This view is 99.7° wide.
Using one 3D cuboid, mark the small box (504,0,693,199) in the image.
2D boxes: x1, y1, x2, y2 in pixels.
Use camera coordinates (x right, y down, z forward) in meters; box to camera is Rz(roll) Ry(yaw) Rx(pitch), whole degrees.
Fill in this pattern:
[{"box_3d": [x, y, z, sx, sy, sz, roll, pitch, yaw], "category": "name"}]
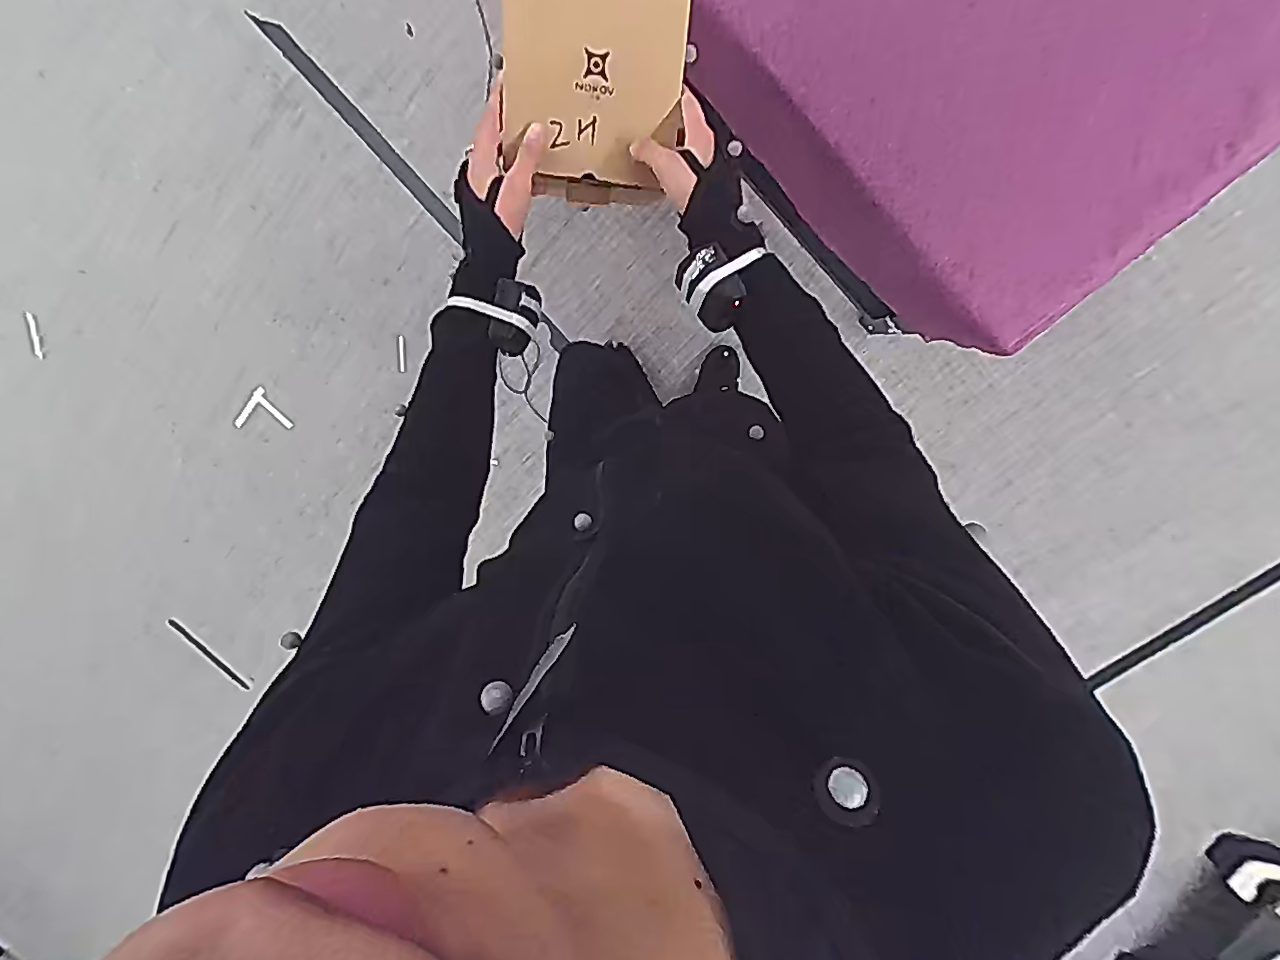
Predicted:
[{"box_3d": [-0.049, -0.411, 0.568, 0.168, 0.176, 0.179, 3, 112, -8], "category": "small box"}]
